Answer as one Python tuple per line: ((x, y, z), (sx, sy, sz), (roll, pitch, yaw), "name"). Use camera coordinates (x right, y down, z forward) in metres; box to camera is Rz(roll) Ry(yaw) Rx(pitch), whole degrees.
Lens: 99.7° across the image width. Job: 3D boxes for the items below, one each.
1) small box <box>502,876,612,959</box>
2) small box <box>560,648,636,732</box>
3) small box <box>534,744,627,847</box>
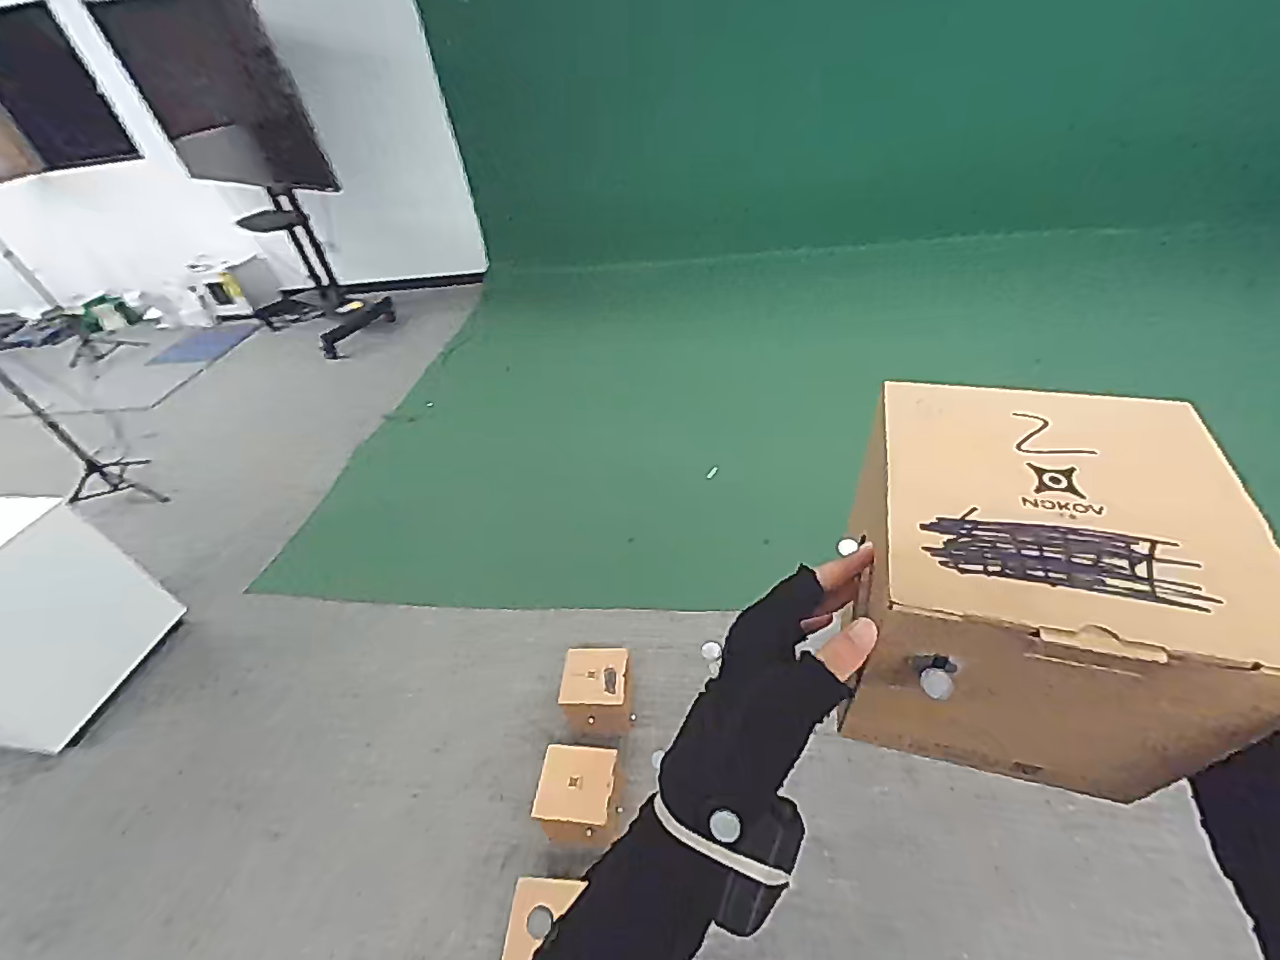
((-0.162, 0.939, 1.107), (0.179, 0.176, 0.168), (-1, 42, 8), "small box")
((-0.110, 0.588, 1.512), (0.179, 0.176, 0.168), (-3, 40, 7), "small box")
((-0.136, 0.765, 1.311), (0.179, 0.176, 0.168), (0, 41, 9), "small box")
